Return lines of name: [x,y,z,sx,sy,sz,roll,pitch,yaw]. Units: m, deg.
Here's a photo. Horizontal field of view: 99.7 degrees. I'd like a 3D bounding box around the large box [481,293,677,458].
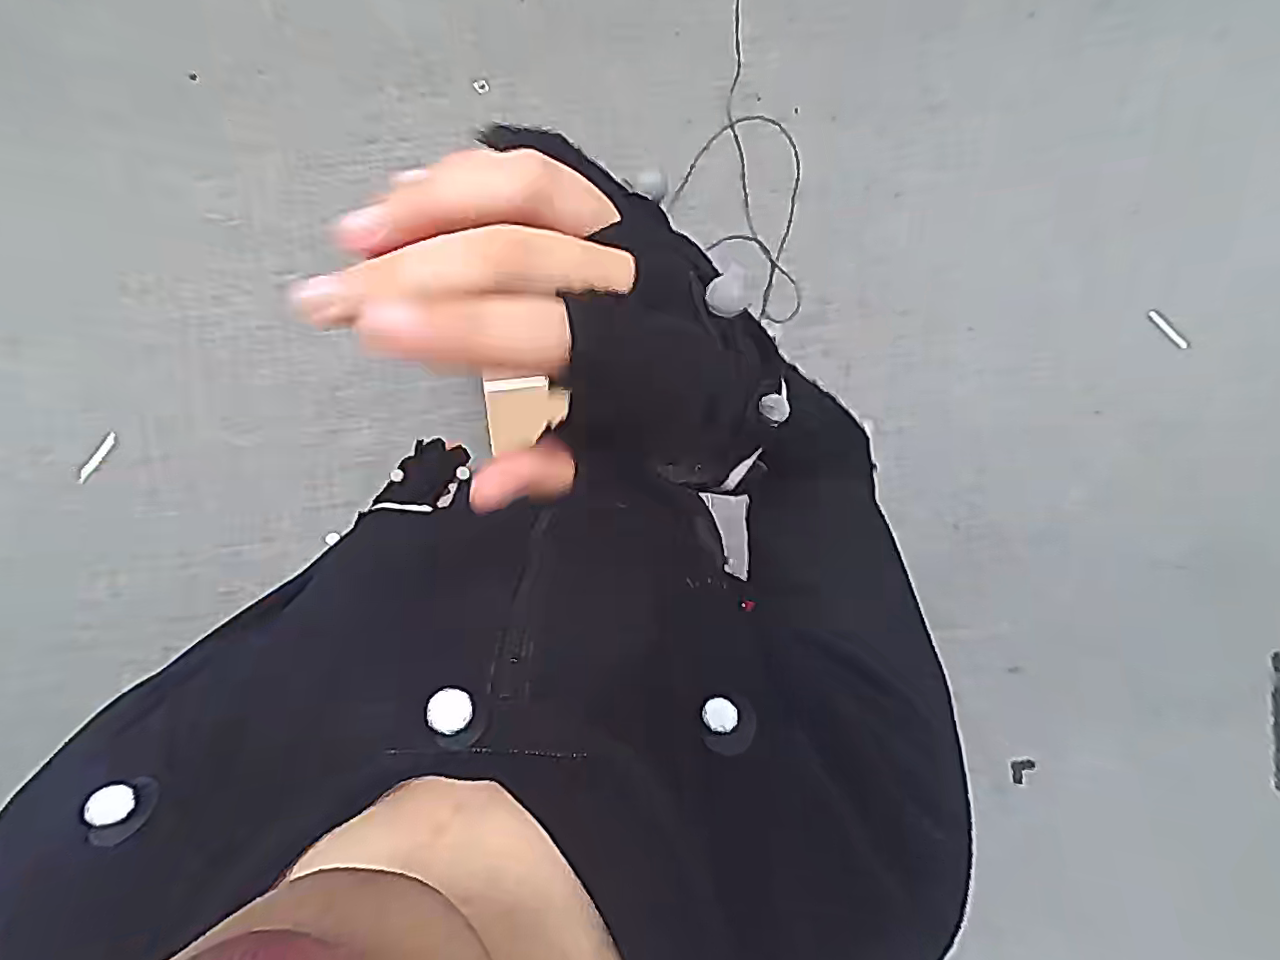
large box: [-0.134,-0.232,1.325,0.408,0.320,0.320,-7,92,0]
